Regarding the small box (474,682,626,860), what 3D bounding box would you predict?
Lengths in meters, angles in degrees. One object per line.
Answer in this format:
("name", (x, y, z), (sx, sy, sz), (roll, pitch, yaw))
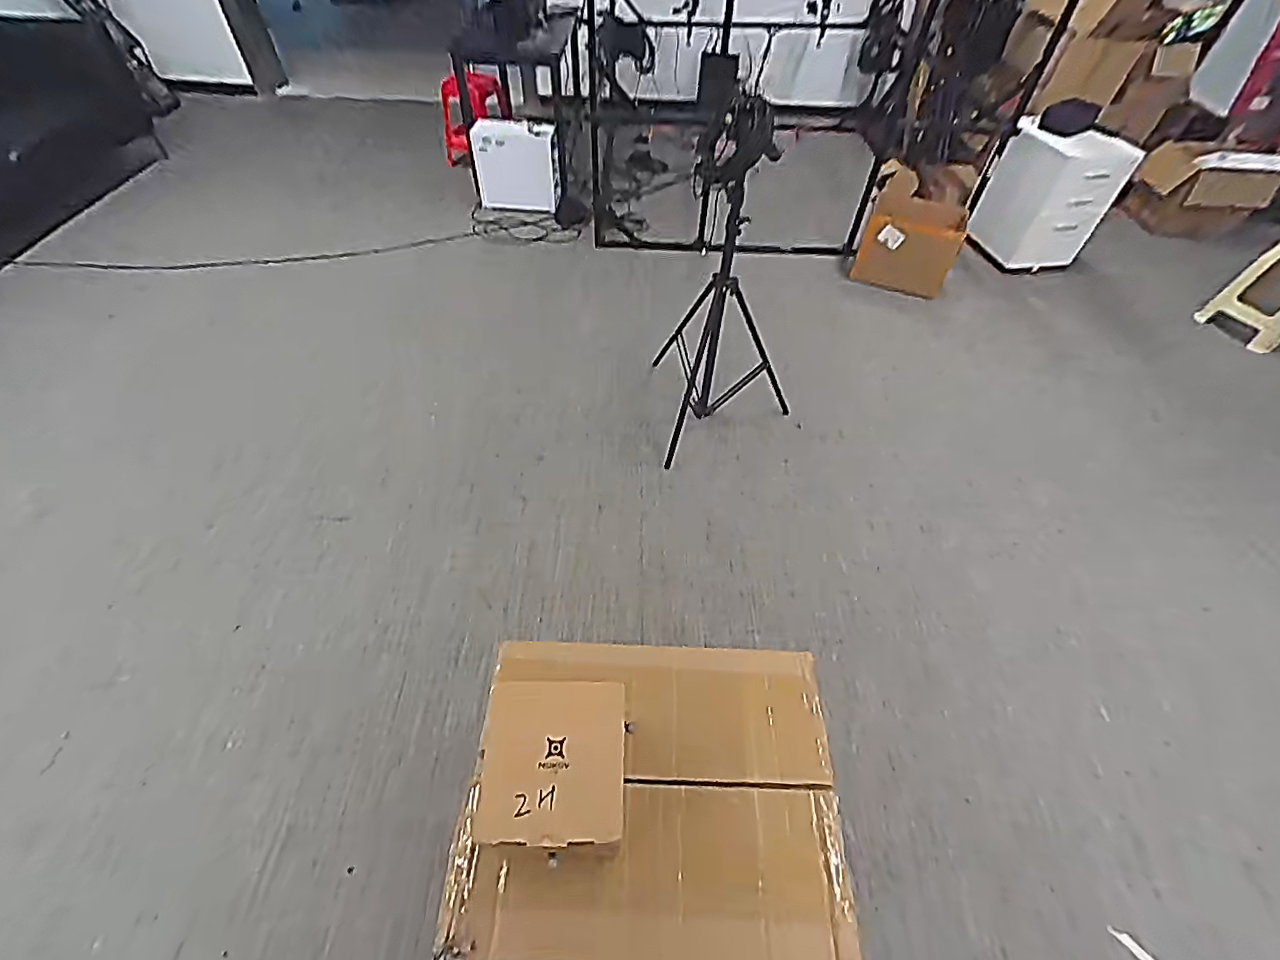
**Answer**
("small box", (-0.103, 0.379, 0.701), (0.168, 0.176, 0.179), (1, 51, -2))
